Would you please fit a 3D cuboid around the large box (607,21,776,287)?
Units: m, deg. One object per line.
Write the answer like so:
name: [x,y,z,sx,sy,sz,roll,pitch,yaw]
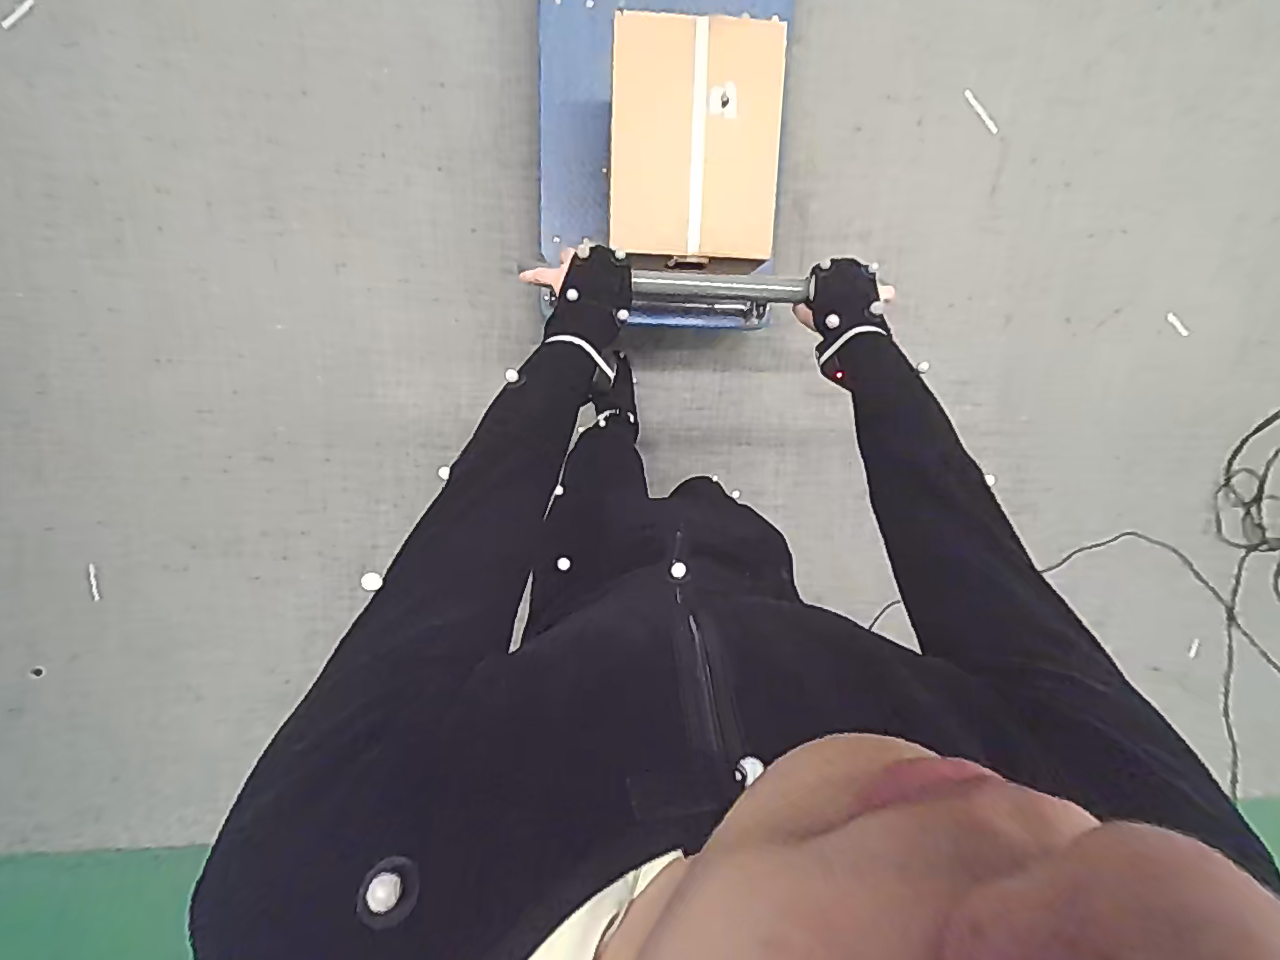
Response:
large box: [0.086,-0.644,1.148,0.320,0.320,0.408,0,99,-5]
